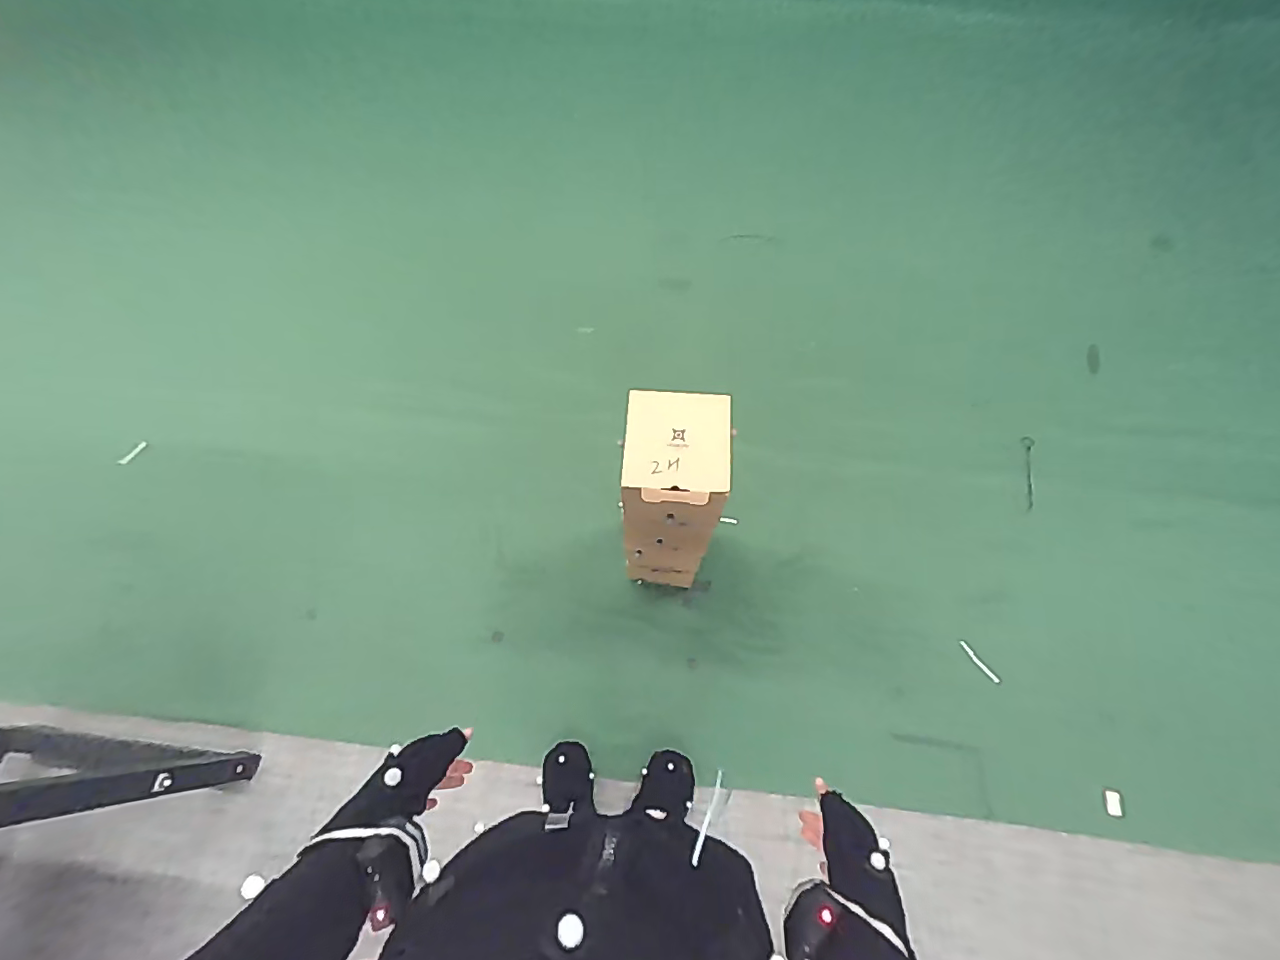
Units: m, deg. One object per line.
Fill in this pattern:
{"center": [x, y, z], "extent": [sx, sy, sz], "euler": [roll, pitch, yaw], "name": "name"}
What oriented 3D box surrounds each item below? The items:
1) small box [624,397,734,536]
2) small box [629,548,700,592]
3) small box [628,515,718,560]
{"center": [0.064, -0.018, 0.919], "extent": [0.168, 0.176, 0.179], "euler": [4, 66, 3], "name": "small box"}
{"center": [0.070, 0.176, 1.371], "extent": [0.168, 0.176, 0.179], "euler": [7, 67, 4], "name": "small box"}
{"center": [0.067, 0.045, 1.071], "extent": [0.168, 0.176, 0.179], "euler": [5, 67, 3], "name": "small box"}
